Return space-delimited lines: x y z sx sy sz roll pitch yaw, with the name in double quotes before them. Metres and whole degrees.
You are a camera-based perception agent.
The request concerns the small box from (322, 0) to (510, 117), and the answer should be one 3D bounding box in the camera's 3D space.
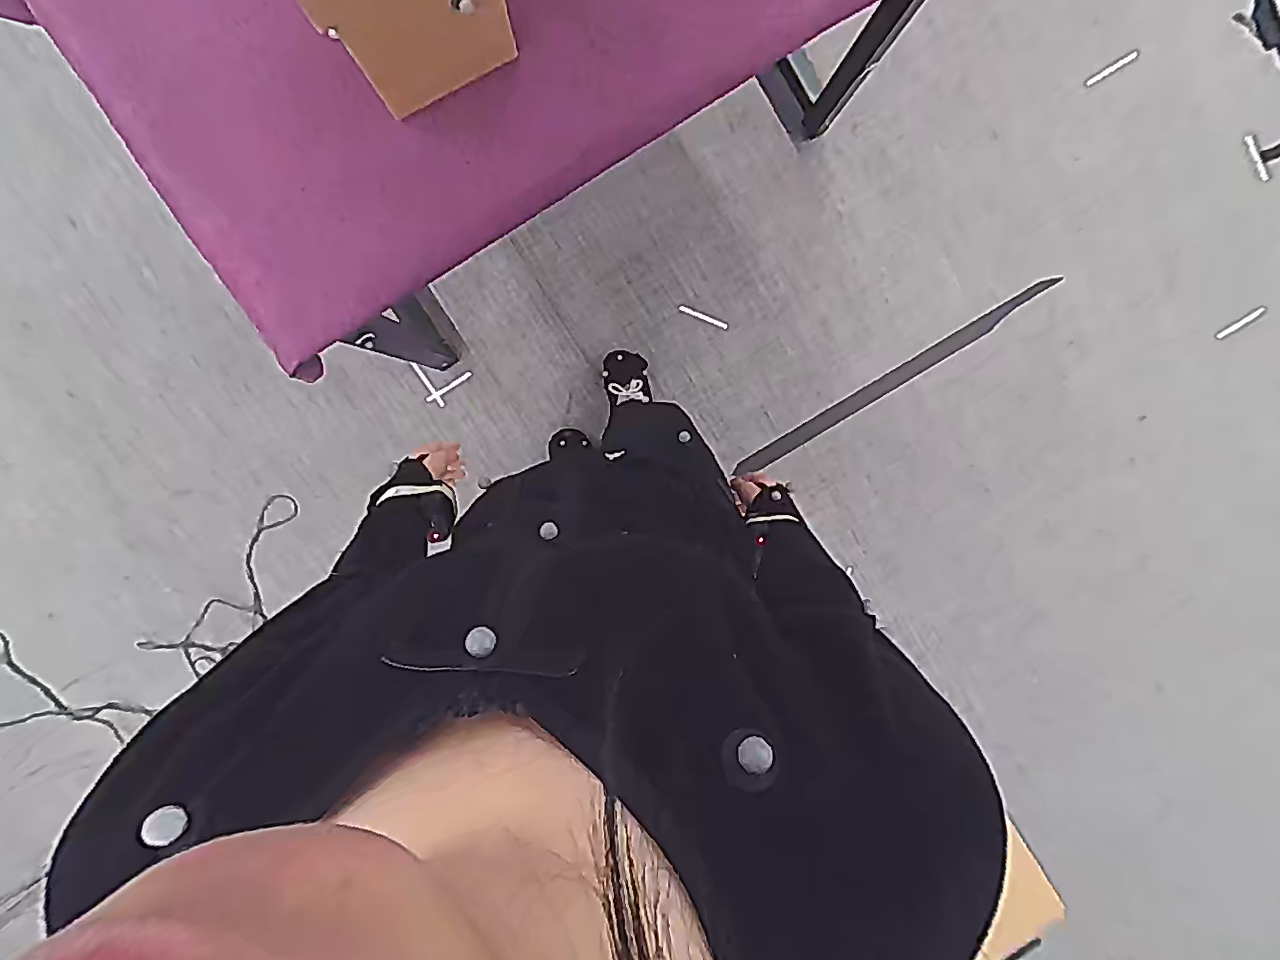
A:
"small box" -0.257 -0.552 0.589 0.179 0.176 0.168 -29 97 0
